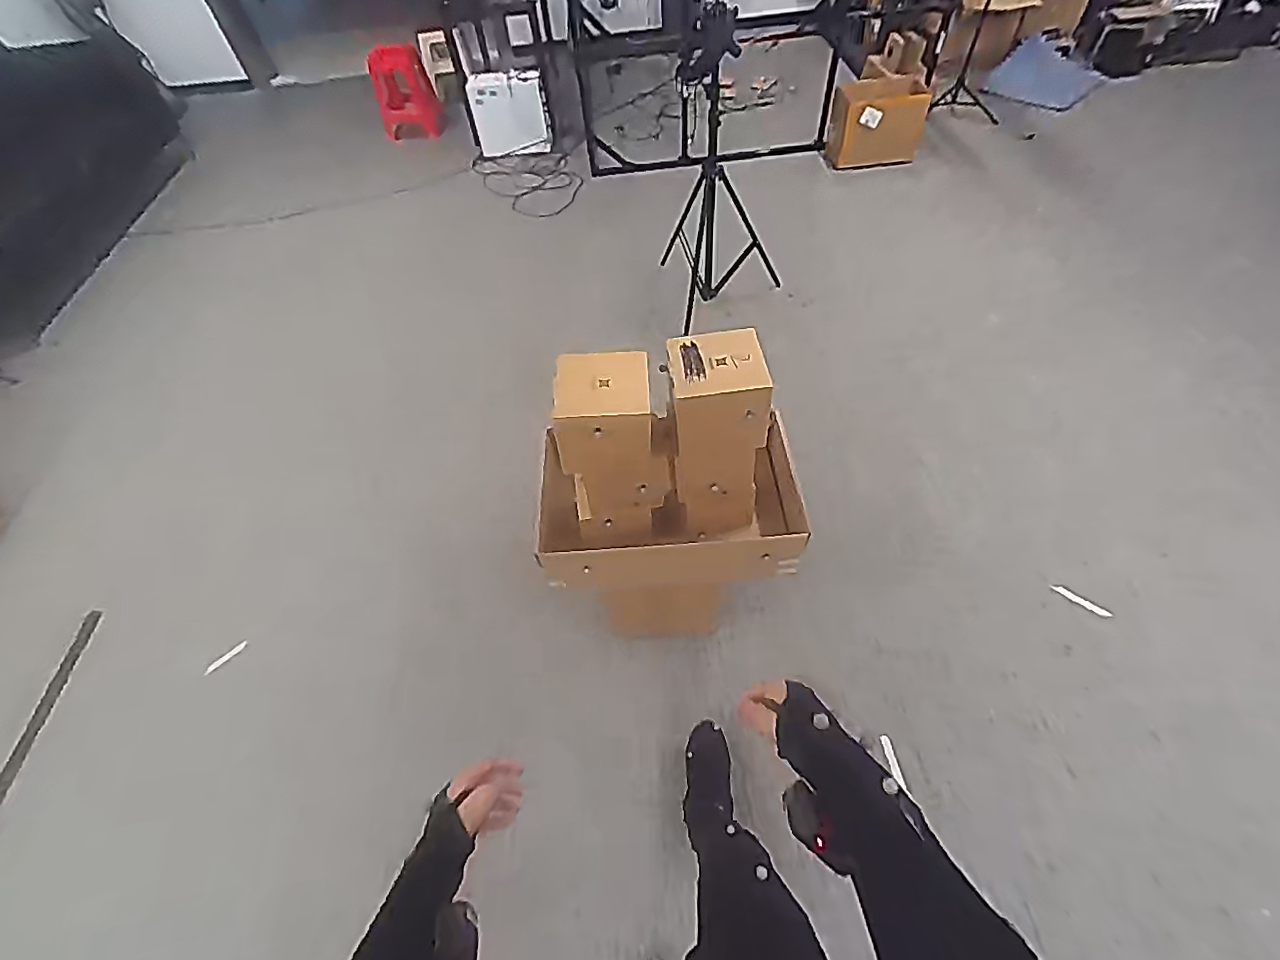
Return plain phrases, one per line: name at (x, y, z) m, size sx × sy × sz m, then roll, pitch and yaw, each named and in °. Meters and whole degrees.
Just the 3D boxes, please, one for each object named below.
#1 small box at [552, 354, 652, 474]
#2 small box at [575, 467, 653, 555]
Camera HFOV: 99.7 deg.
small box at (-0.068, -0.125, 1.053) m, size 0.179 × 0.176 × 0.168 m, roll -3°, pitch 54°, yaw 0°
small box at (-0.064, 0.059, 1.321) m, size 0.168 × 0.176 × 0.179 m, roll -9°, pitch 53°, yaw -2°
